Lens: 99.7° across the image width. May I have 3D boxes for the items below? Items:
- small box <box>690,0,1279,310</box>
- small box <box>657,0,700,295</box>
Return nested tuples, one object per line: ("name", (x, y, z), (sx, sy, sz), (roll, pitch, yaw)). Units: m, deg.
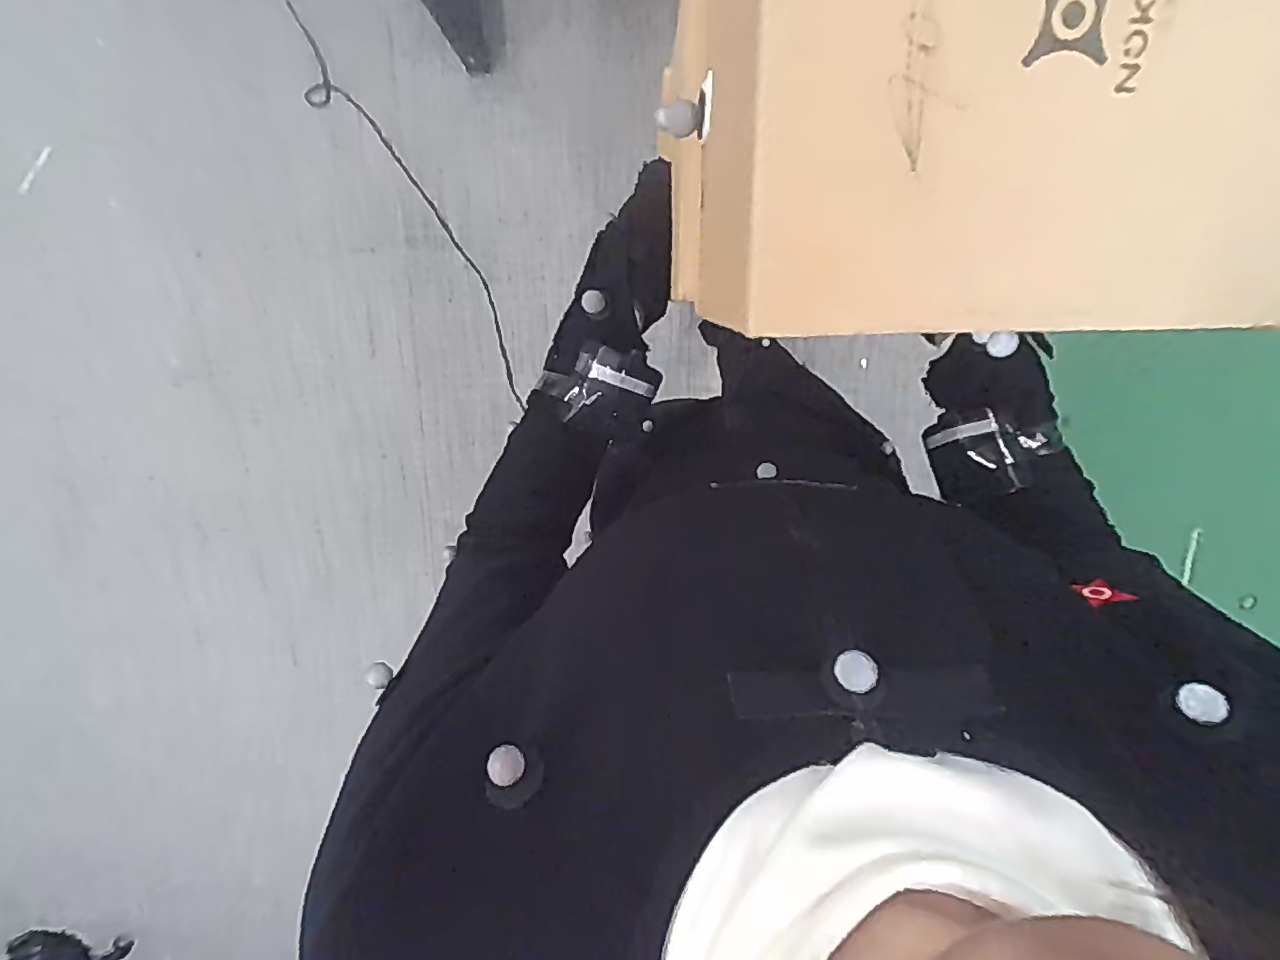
("small box", (0.115, -0.160, 0.222), (0.179, 0.176, 0.168), (-1, 108, 1))
("small box", (0.104, -0.220, 0.375), (0.179, 0.176, 0.168), (-2, 110, 1))
